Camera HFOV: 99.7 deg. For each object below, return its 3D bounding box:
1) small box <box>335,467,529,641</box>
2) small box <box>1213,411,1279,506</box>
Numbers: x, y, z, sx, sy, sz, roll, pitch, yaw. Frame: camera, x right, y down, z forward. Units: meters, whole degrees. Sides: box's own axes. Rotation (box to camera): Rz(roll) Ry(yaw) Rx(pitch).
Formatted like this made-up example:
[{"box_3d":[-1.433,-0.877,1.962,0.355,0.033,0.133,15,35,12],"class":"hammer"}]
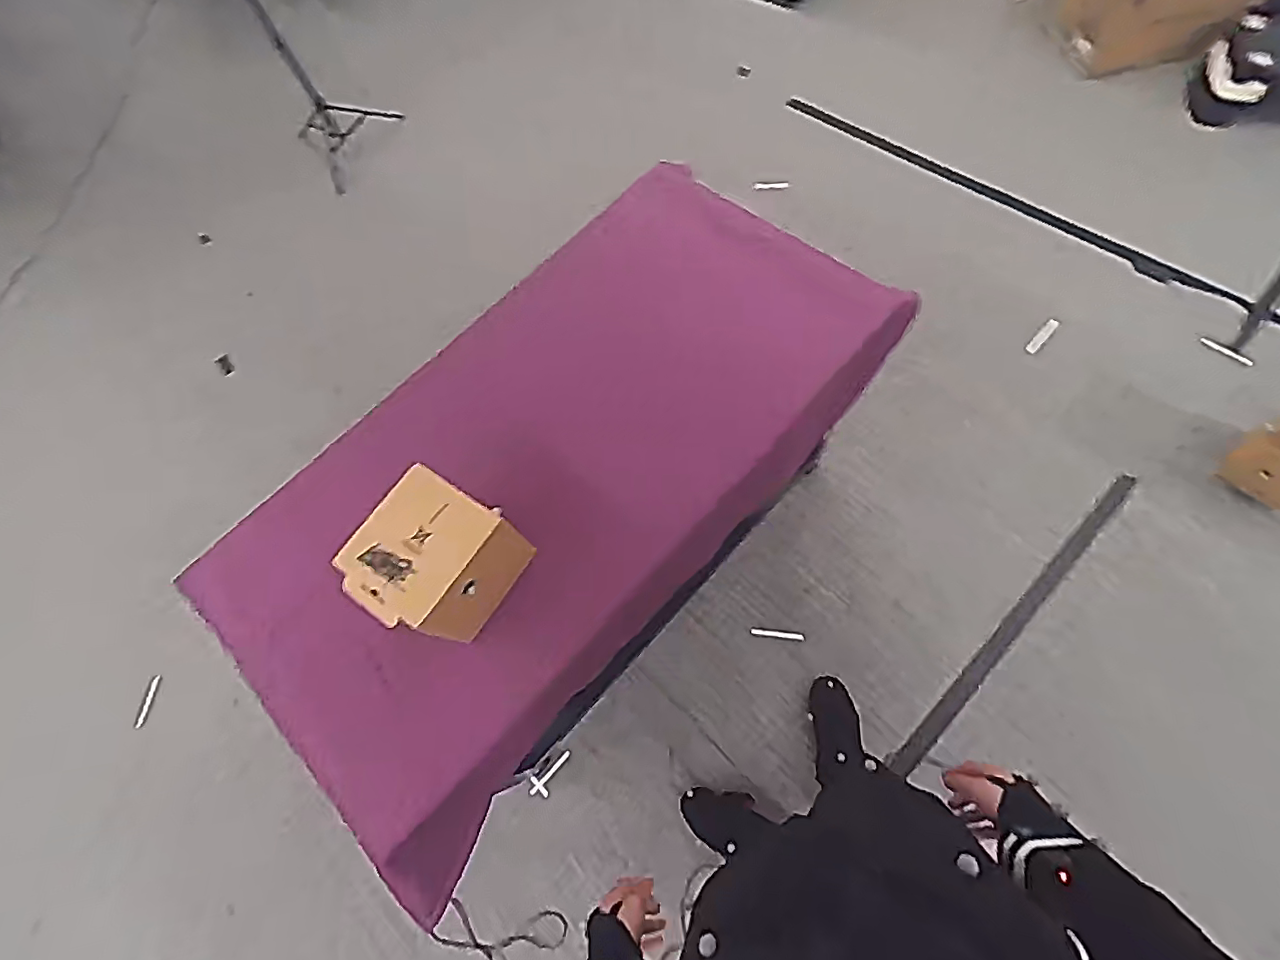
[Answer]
[{"box_3d":[-0.291,0.118,0.799,0.168,0.176,0.179,30,74,17],"class":"small box"},{"box_3d":[1.669,-0.059,1.404,0.179,0.176,0.168,-41,69,-10],"class":"small box"}]
